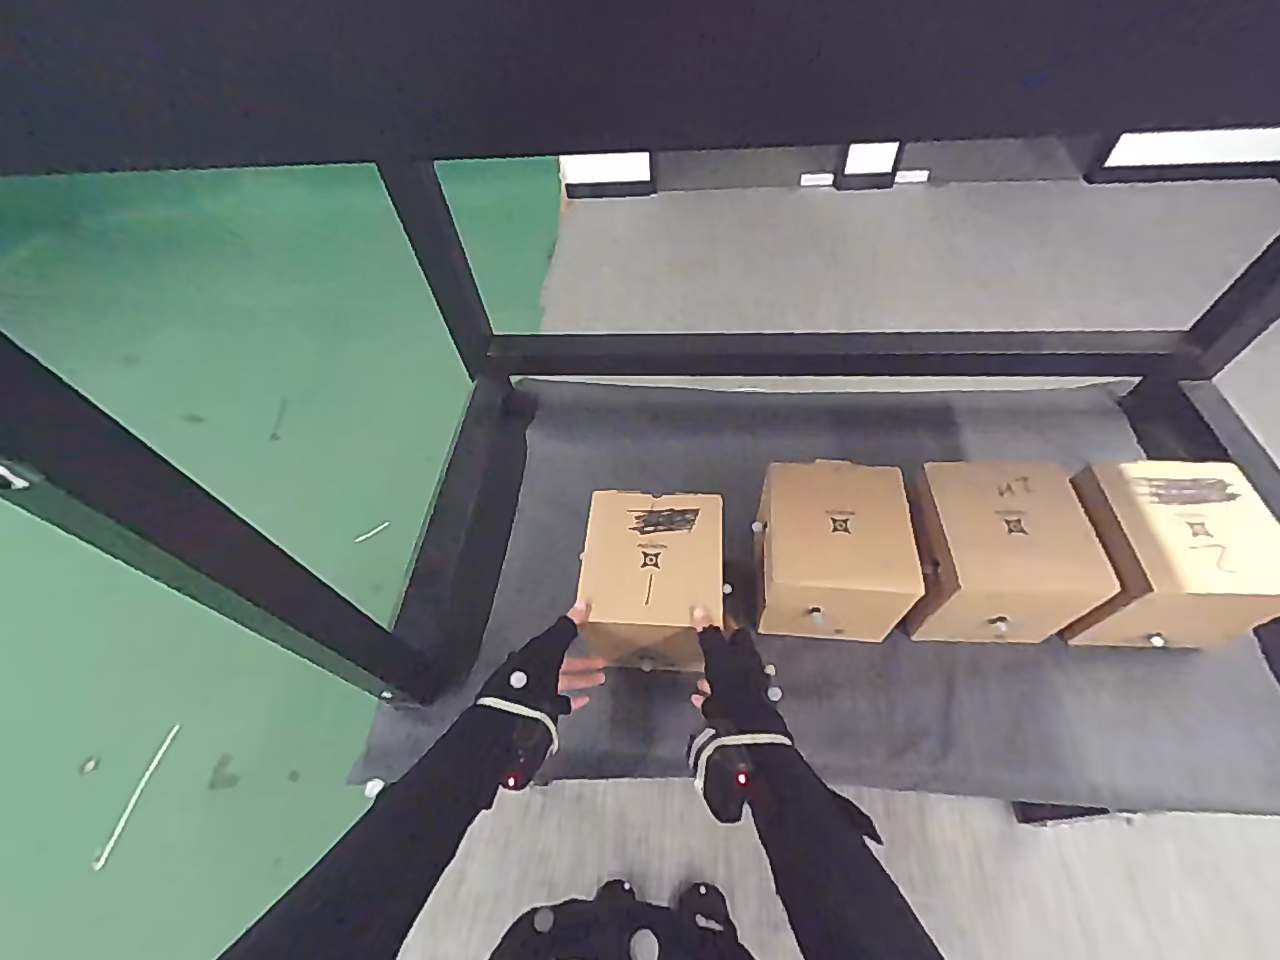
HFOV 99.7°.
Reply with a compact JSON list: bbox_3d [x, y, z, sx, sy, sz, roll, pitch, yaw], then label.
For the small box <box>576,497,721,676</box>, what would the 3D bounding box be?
[{"bbox_3d":[0.018,0.141,0.712,0.168,0.176,0.179,1,55,5],"label":"small box"}]
